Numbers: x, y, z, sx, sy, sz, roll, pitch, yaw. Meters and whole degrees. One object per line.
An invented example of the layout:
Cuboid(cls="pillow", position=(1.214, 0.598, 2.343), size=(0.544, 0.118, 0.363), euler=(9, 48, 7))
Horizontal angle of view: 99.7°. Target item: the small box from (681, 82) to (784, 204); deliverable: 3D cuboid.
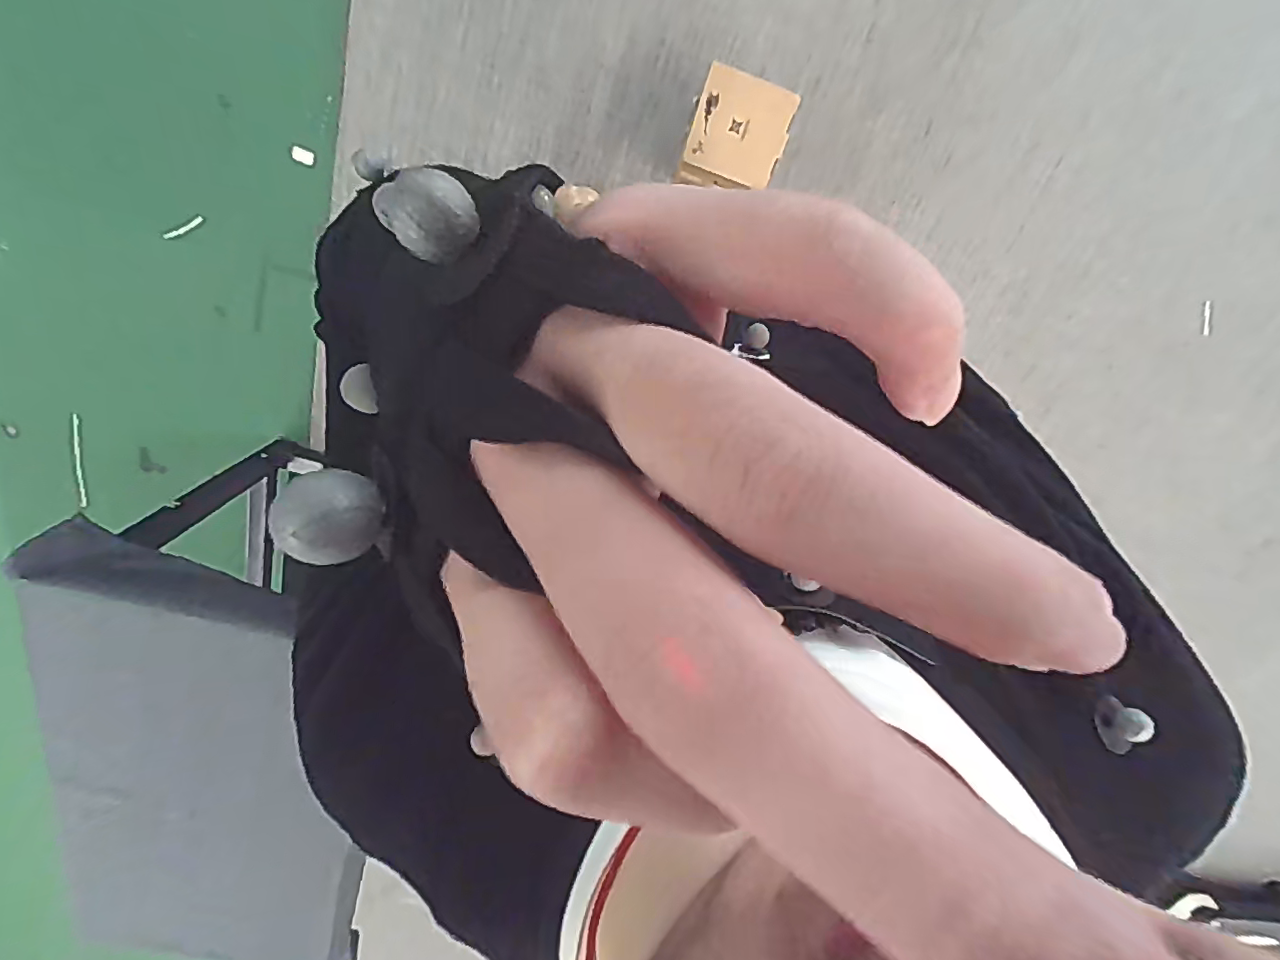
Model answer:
Cuboid(cls="small box", position=(0.195, -0.744, 1.215), size=(0.168, 0.176, 0.179), euler=(19, 113, -7))
